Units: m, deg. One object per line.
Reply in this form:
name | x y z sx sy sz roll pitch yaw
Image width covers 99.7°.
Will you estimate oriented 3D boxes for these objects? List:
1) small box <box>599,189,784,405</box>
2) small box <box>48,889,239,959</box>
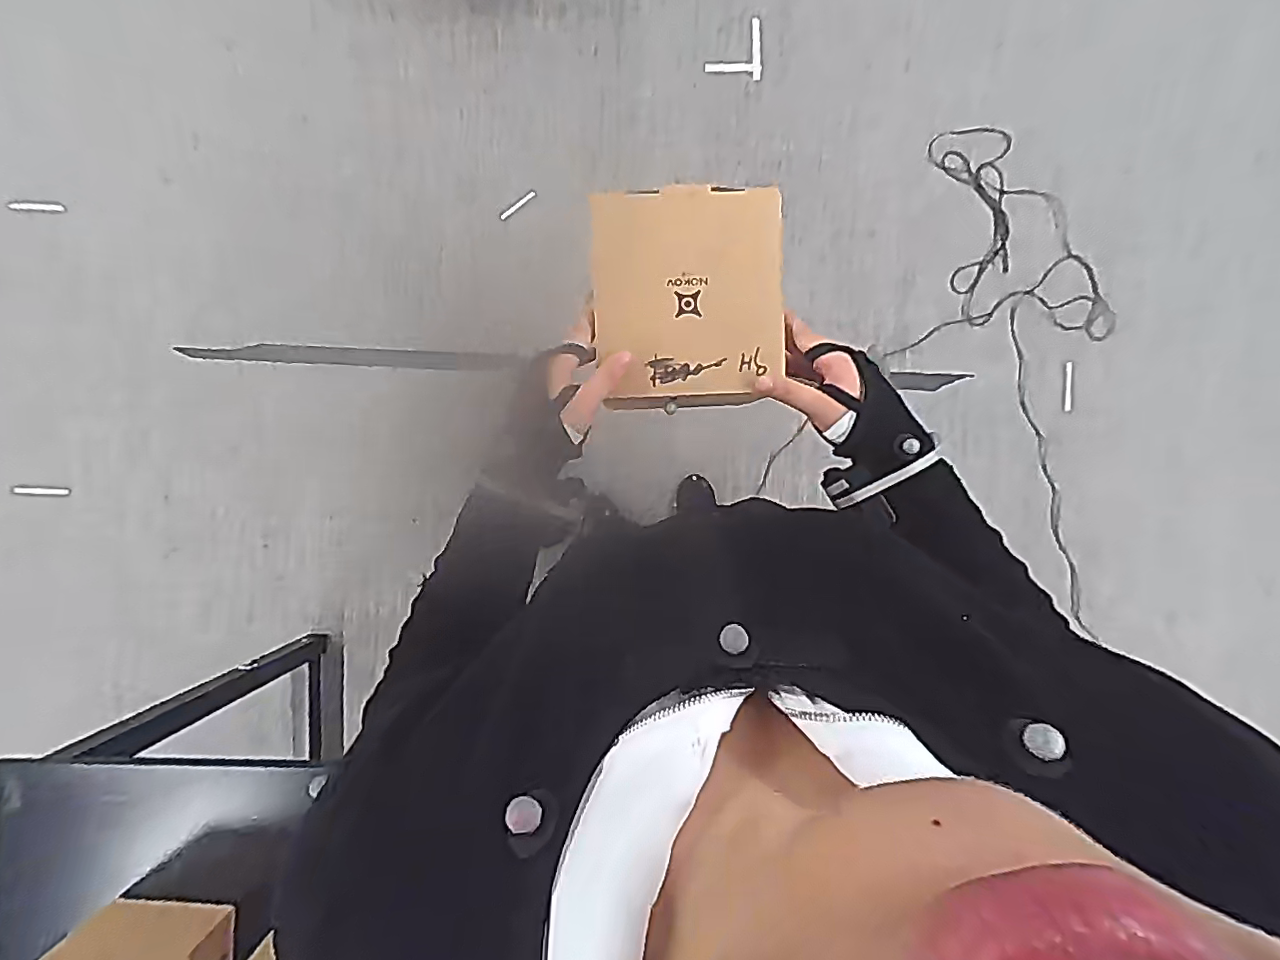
small box | 0.044 -0.172 0.556 0.168 0.176 0.179 -2 95 0
small box | -0.667 0.678 0.705 0.179 0.176 0.168 3 90 1
